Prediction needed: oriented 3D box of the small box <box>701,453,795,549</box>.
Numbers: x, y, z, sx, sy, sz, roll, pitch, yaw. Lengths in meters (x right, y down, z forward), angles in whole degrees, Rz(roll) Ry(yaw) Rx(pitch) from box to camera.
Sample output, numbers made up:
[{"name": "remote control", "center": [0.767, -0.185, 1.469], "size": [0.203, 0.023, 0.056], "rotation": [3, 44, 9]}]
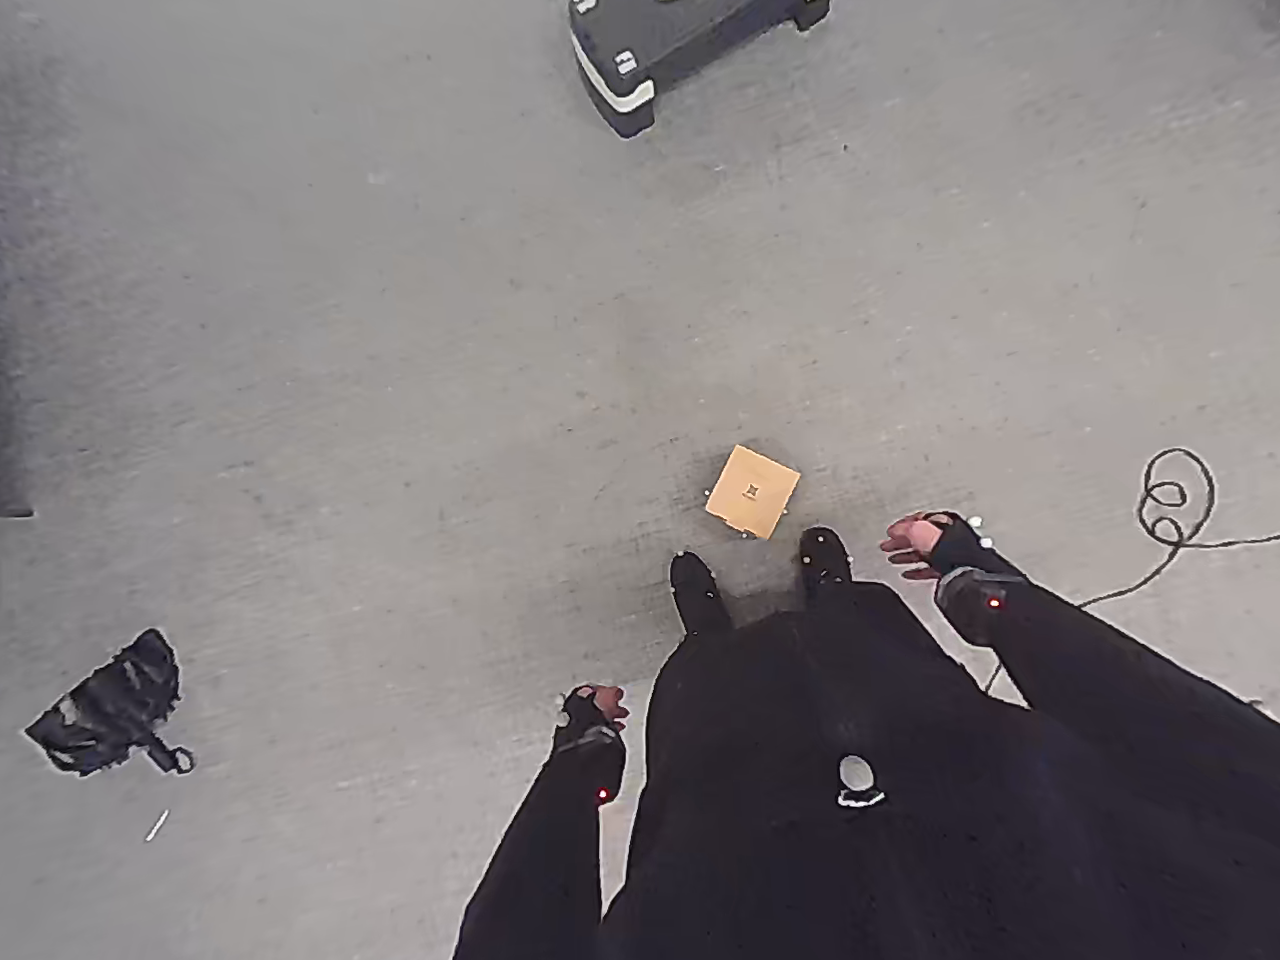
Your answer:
[{"name": "small box", "center": [0.261, 0.056, 1.338], "size": [0.168, 0.176, 0.179], "rotation": [26, 87, 7]}]
